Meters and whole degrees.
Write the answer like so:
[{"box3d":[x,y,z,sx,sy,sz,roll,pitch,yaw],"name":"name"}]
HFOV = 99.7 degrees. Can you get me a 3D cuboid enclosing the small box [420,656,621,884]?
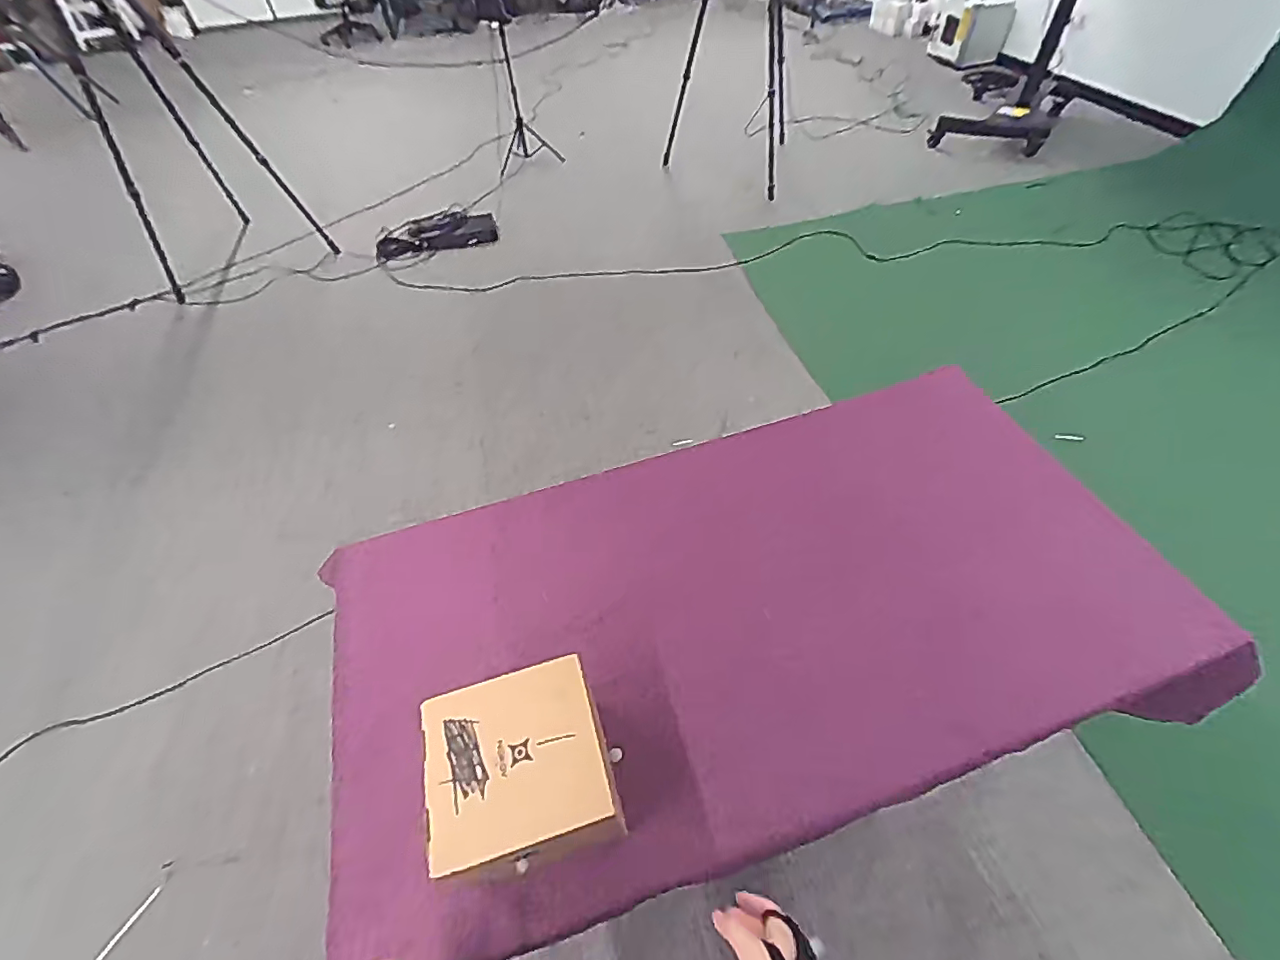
[{"box3d":[-0.129,0.330,0.609,0.179,0.176,0.168,-15,52,-9],"name":"small box"}]
